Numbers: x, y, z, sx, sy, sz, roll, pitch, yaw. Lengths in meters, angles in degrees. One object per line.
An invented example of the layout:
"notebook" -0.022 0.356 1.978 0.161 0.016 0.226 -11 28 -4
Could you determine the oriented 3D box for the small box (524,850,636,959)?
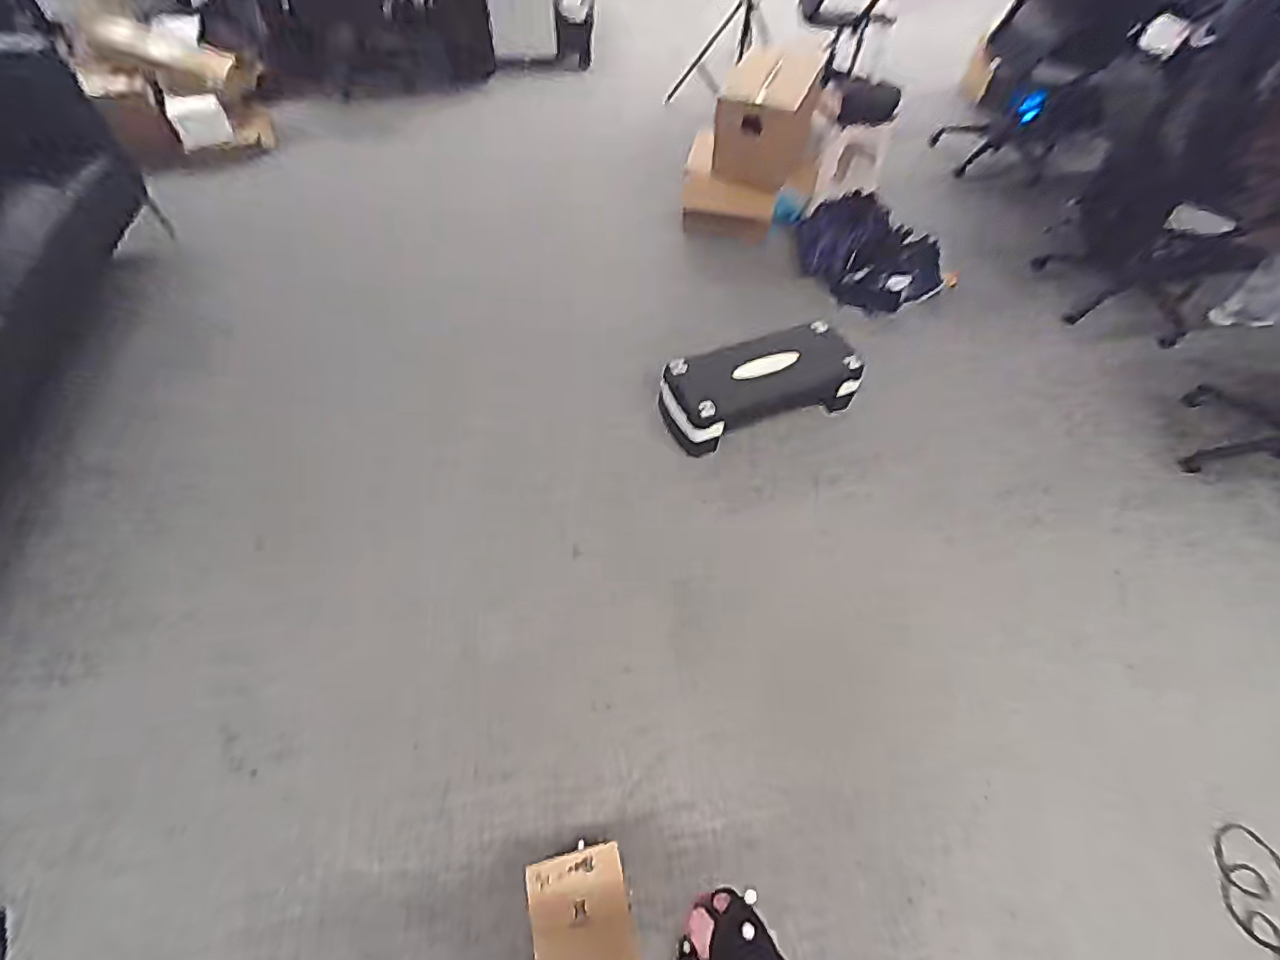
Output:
"small box" -0.104 0.788 0.968 0.168 0.176 0.179 -12 57 -9
